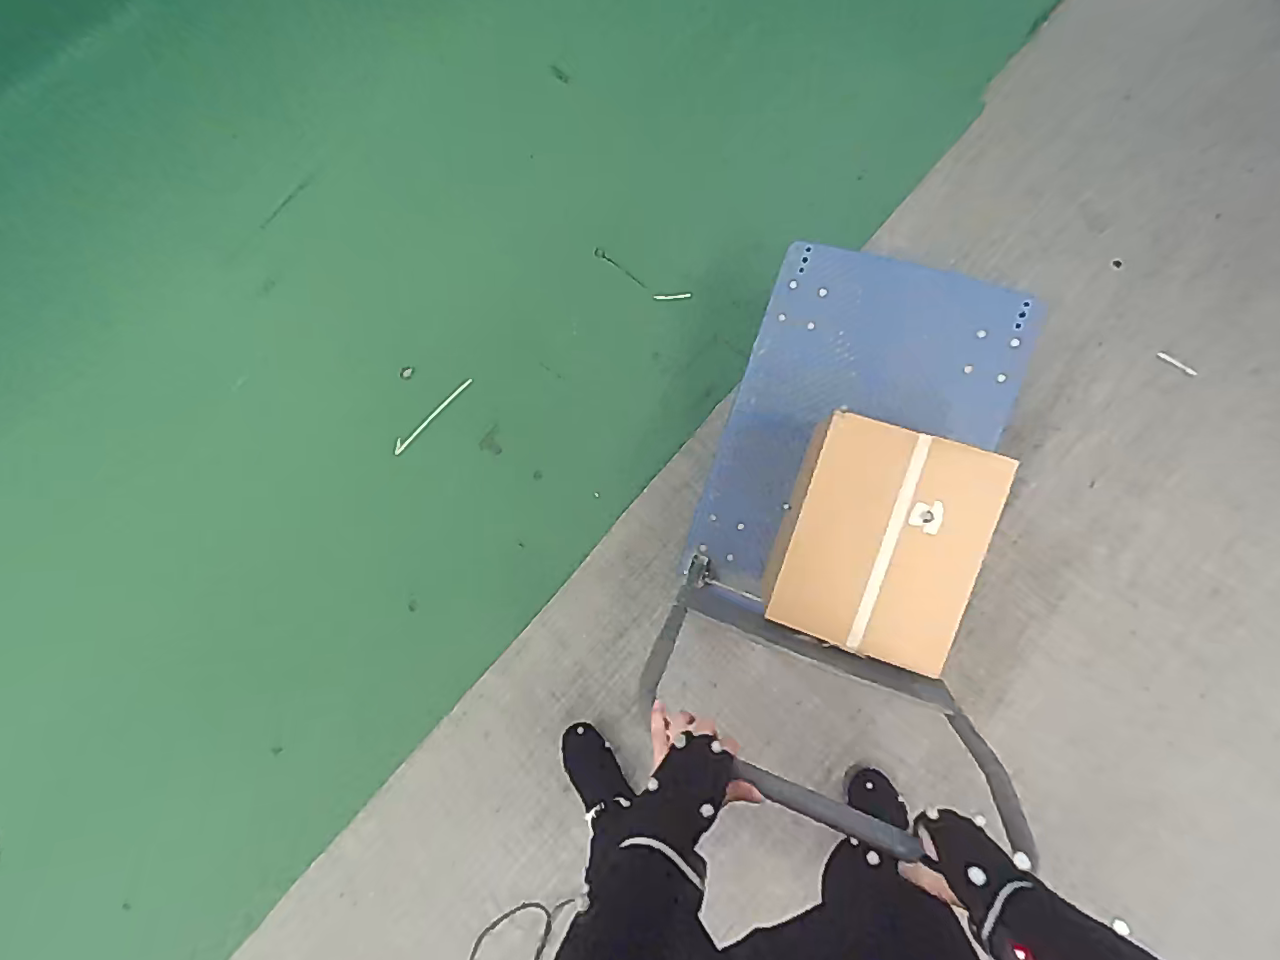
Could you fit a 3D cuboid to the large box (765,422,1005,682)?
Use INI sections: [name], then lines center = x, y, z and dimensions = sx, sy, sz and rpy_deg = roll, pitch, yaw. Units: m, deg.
[large box]
center = 0.465, 0.128, 1.121
dimensions = 0.320, 0.320, 0.408
rpy_deg = 19, 94, 10
